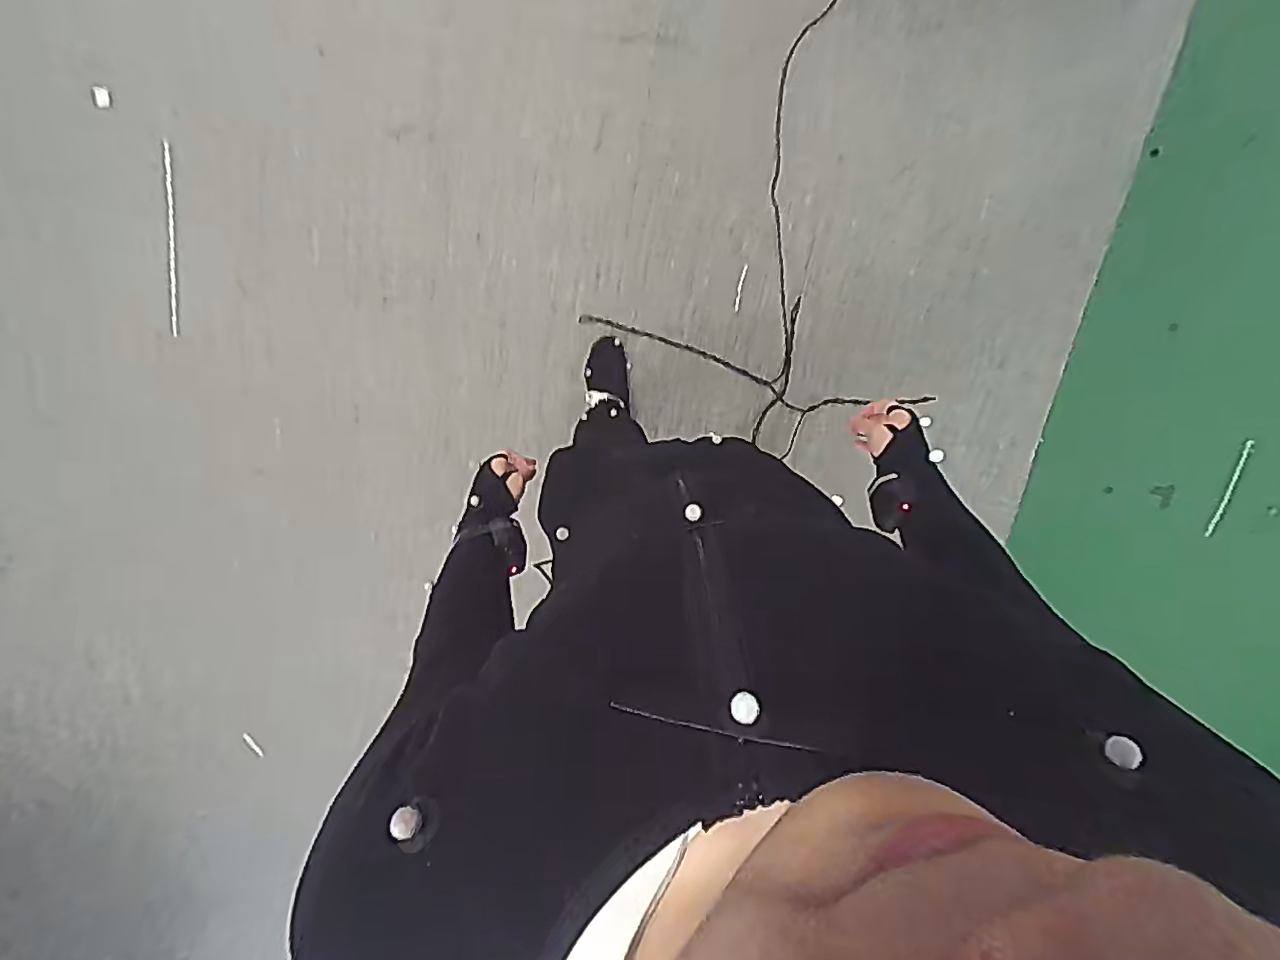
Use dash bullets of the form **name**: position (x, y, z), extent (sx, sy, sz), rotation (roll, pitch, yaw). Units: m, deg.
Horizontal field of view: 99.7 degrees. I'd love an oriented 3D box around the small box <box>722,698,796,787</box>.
- **small box**: position (0.364, 0.815, 1.692), extent (0.168, 0.176, 0.179), rotation (12, 104, -4)
